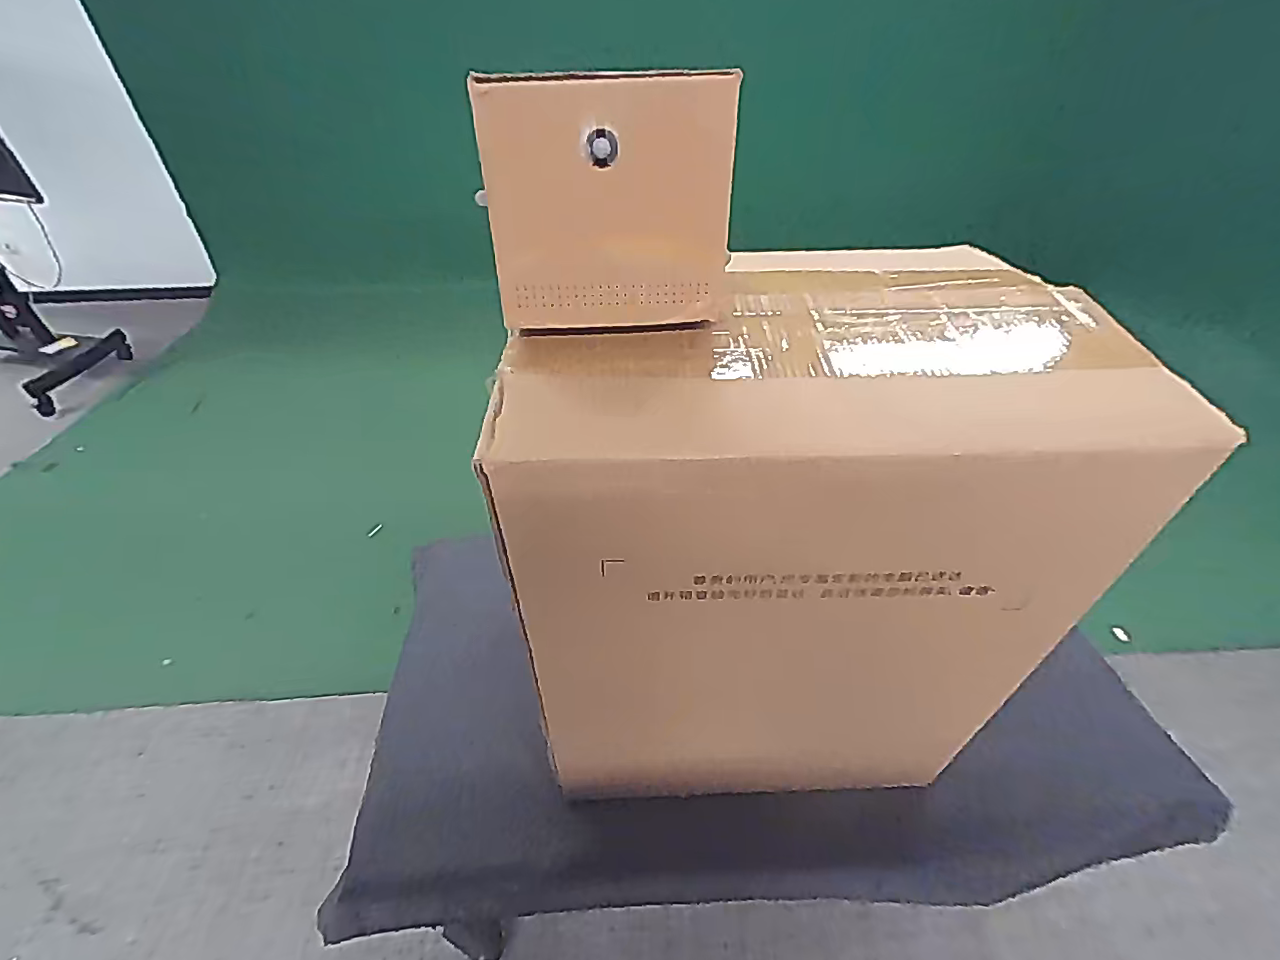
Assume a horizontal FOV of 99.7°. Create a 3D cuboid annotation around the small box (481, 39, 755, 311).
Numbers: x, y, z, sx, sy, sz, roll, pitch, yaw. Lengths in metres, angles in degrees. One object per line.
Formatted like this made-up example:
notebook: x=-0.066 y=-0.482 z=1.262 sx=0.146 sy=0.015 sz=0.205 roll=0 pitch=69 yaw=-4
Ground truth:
small box: x=-0.019 y=-0.245 z=0.446 sx=0.179 sy=0.176 sz=0.168 roll=-1 pitch=35 yaw=-5
